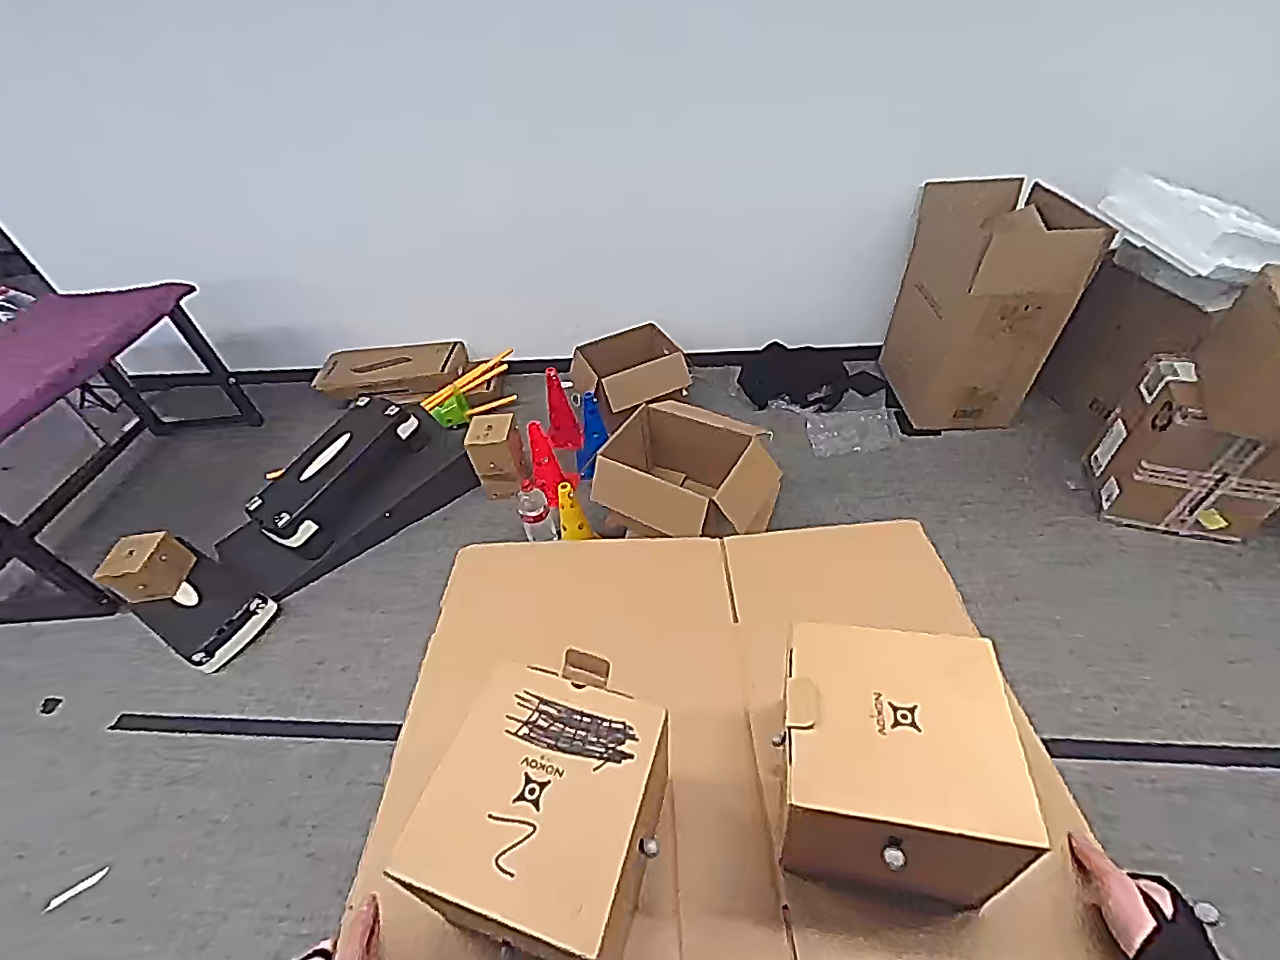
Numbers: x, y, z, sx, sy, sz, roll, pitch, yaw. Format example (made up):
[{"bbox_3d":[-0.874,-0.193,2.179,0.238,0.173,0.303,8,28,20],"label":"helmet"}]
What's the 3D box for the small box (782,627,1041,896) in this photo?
[{"bbox_3d":[0.227,0.262,0.508,0.179,0.176,0.168,1,42,15],"label":"small box"}]
